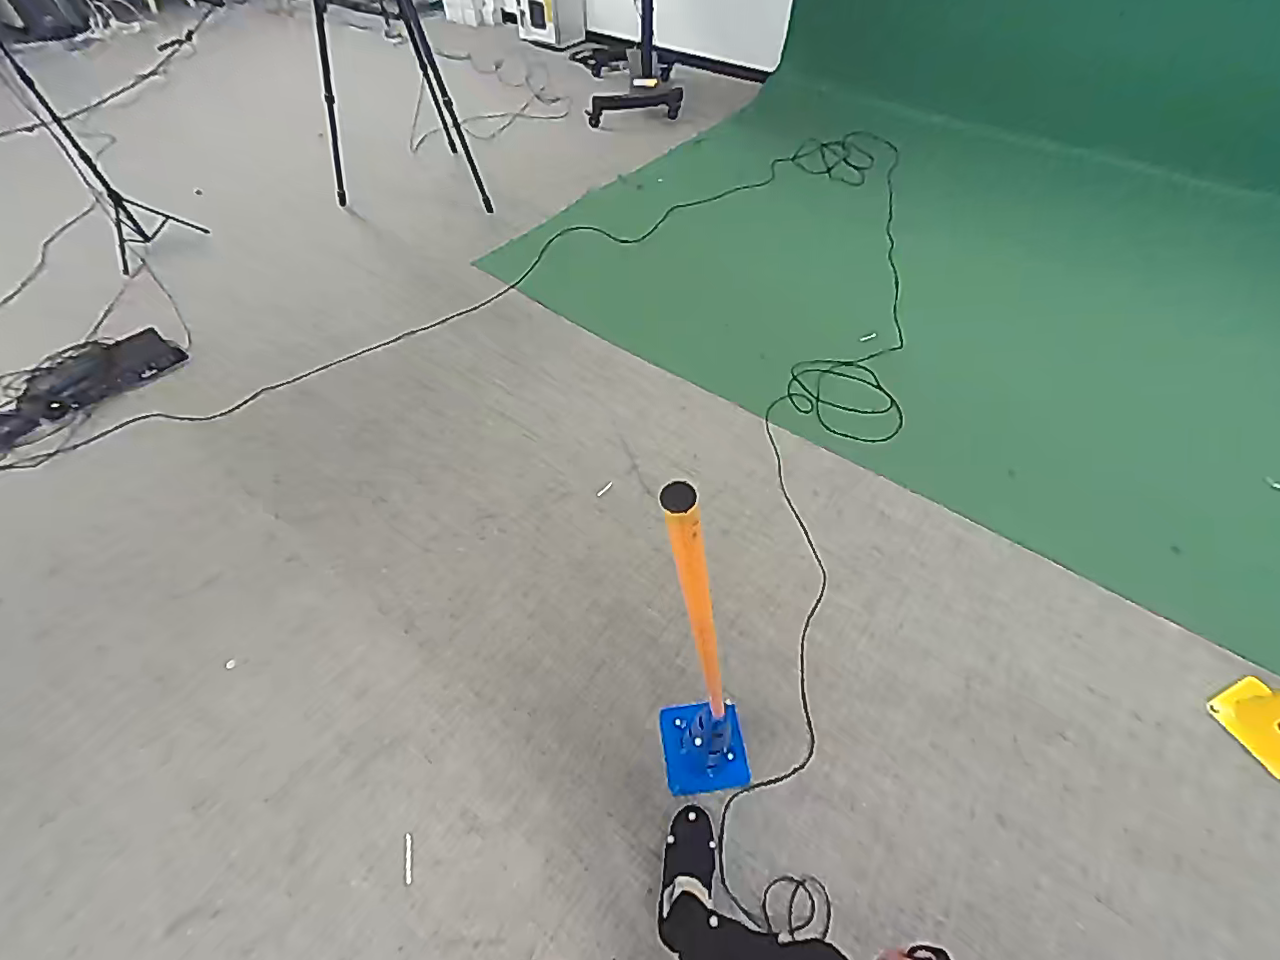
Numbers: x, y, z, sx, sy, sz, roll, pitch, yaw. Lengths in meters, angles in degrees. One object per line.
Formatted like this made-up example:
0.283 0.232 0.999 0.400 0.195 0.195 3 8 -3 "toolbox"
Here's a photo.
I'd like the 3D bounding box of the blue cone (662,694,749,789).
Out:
0.155 0.547 1.191 0.193 0.380 0.192 -8 55 -4 "blue cone"
